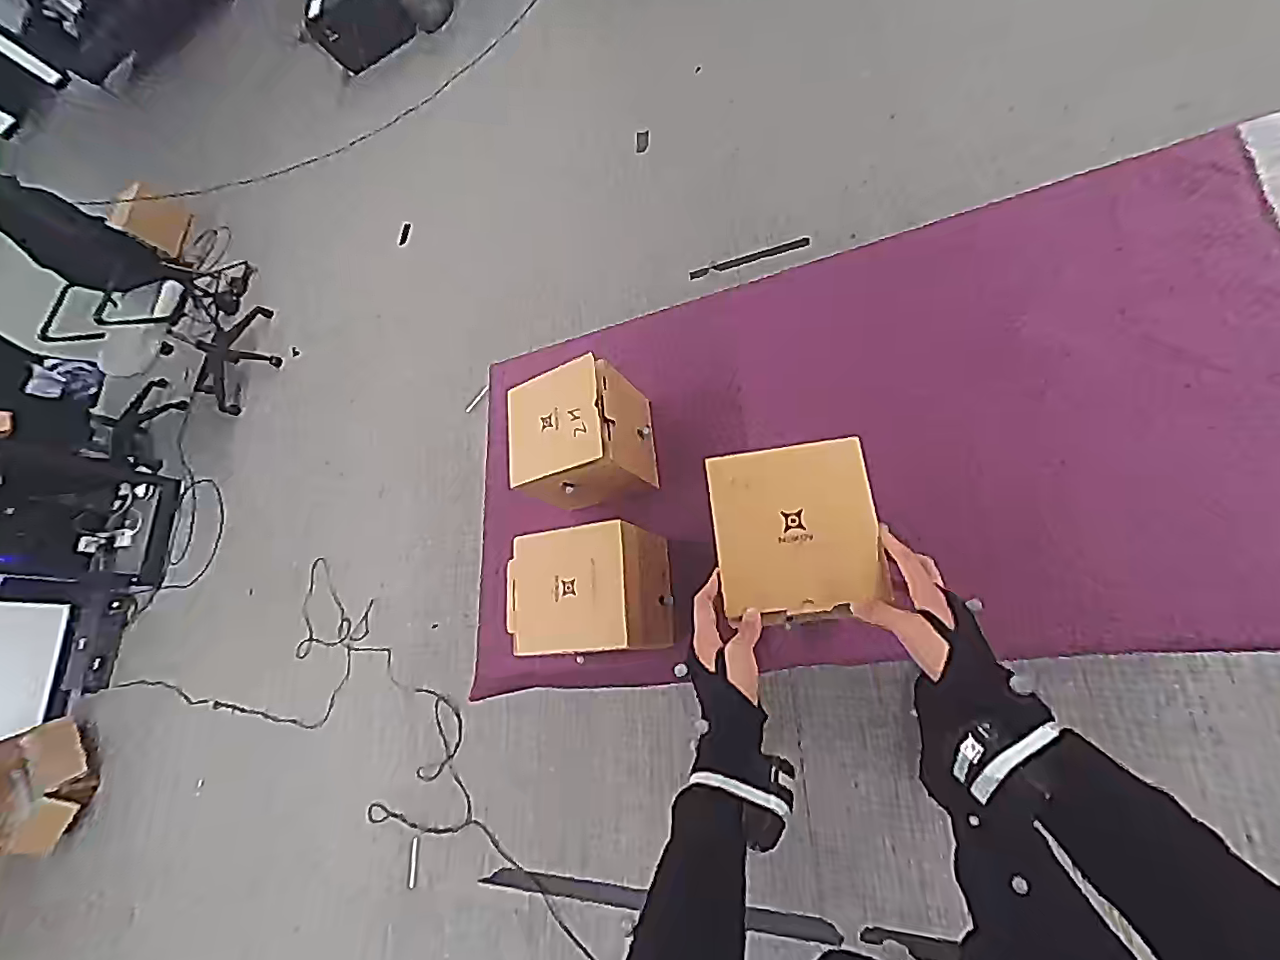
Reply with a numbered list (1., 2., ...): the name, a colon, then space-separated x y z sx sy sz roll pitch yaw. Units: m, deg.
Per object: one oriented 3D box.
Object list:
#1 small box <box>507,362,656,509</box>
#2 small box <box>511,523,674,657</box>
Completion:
1. small box: -0.091 -0.058 0.866 0.179 0.176 0.168 -13 70 21
2. small box: -0.065 0.169 0.788 0.179 0.176 0.168 -11 71 22
